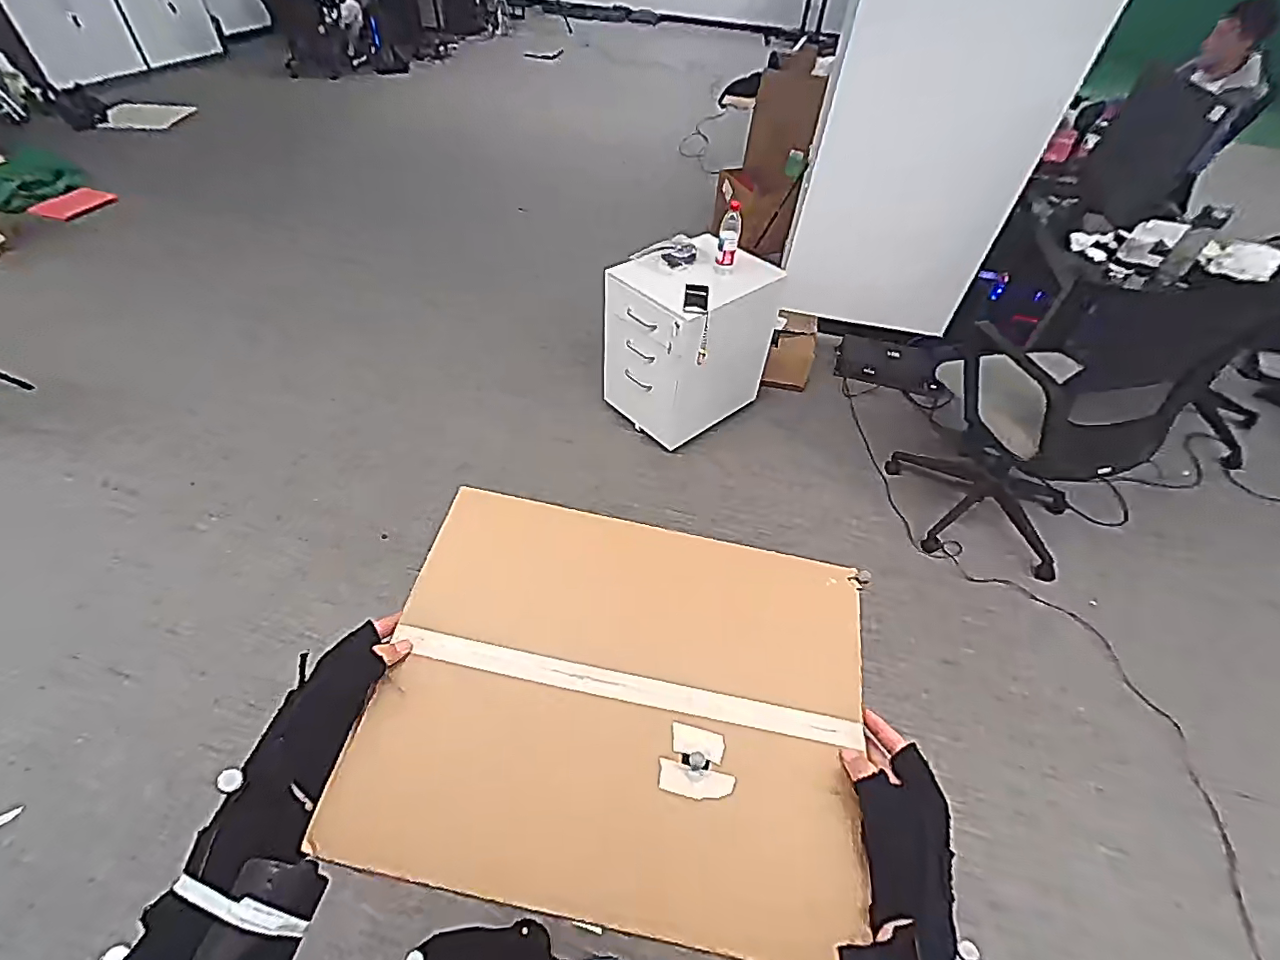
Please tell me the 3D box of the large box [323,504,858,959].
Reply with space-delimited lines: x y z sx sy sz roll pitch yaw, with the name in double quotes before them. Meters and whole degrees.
"large box" -0.028 0.265 0.593 0.408 0.320 0.320 12 58 1
